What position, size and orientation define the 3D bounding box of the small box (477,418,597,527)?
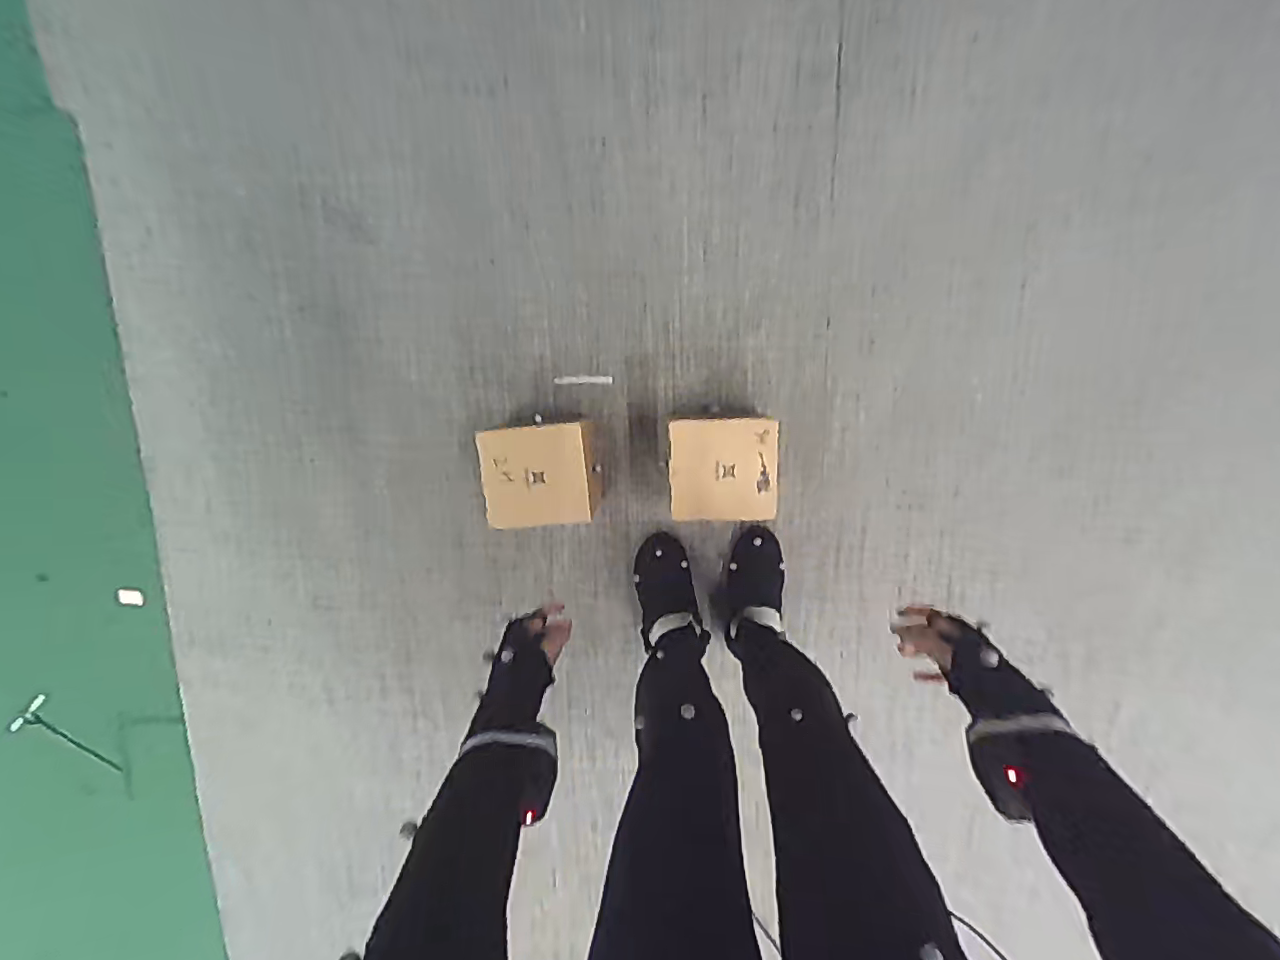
[{"bbox_3d":[-0.174,-0.020,0.977,0.179,0.176,0.168,-5,100,3],"label":"small box"}]
